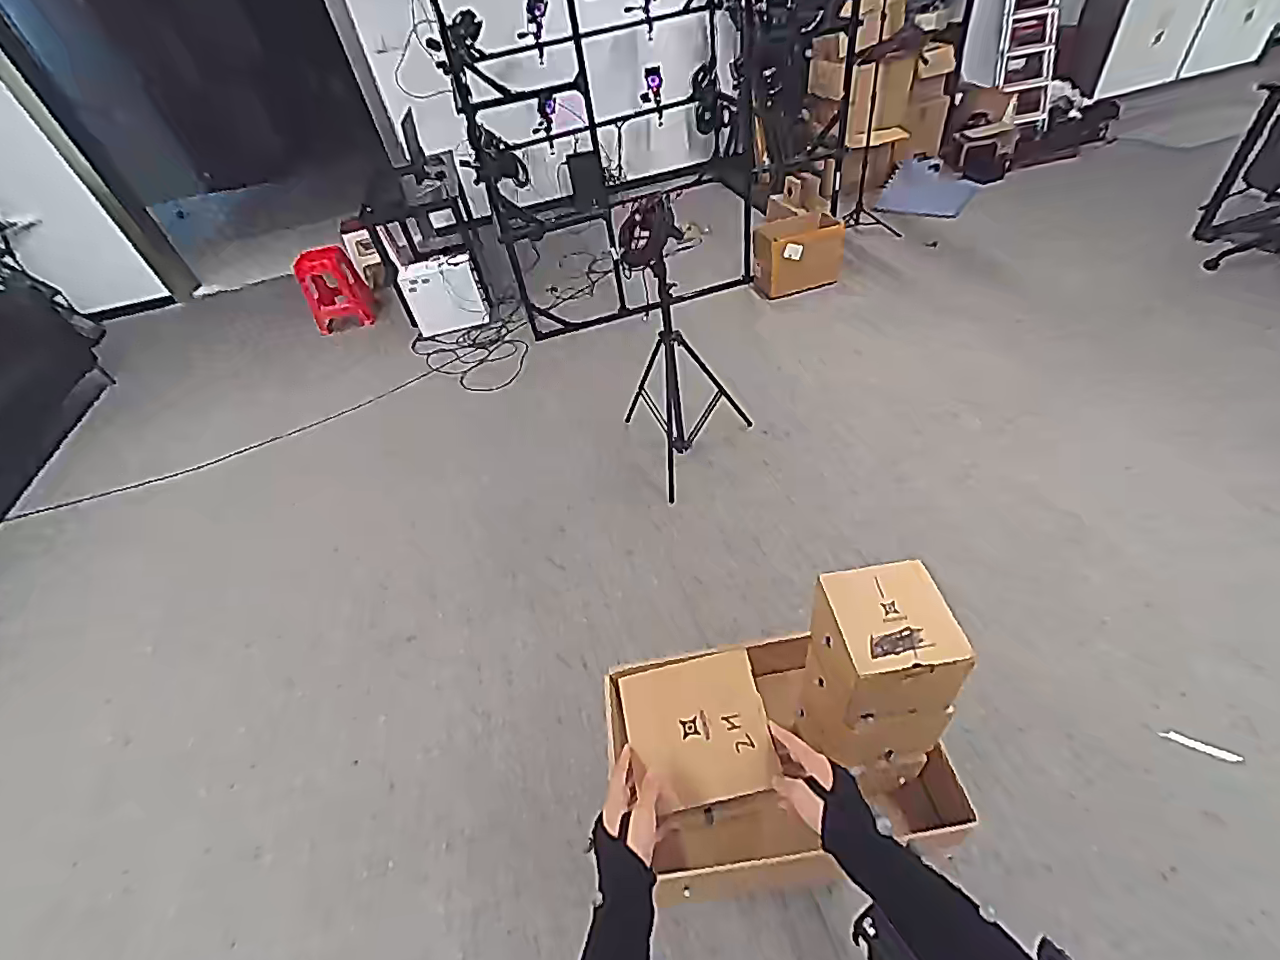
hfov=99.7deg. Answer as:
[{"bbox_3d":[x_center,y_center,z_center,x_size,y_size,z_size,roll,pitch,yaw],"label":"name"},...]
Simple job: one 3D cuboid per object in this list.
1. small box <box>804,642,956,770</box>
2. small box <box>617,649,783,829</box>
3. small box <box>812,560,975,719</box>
[{"bbox_3d":[0.403,0.382,0.945,0.179,0.176,0.168,-11,43,-2],"label":"small box"},{"bbox_3d":[0.079,0.350,0.721,0.179,0.176,0.168,-13,53,0],"label":"small box"},{"bbox_3d":[0.378,0.254,0.843,0.168,0.176,0.179,-9,43,2],"label":"small box"}]
